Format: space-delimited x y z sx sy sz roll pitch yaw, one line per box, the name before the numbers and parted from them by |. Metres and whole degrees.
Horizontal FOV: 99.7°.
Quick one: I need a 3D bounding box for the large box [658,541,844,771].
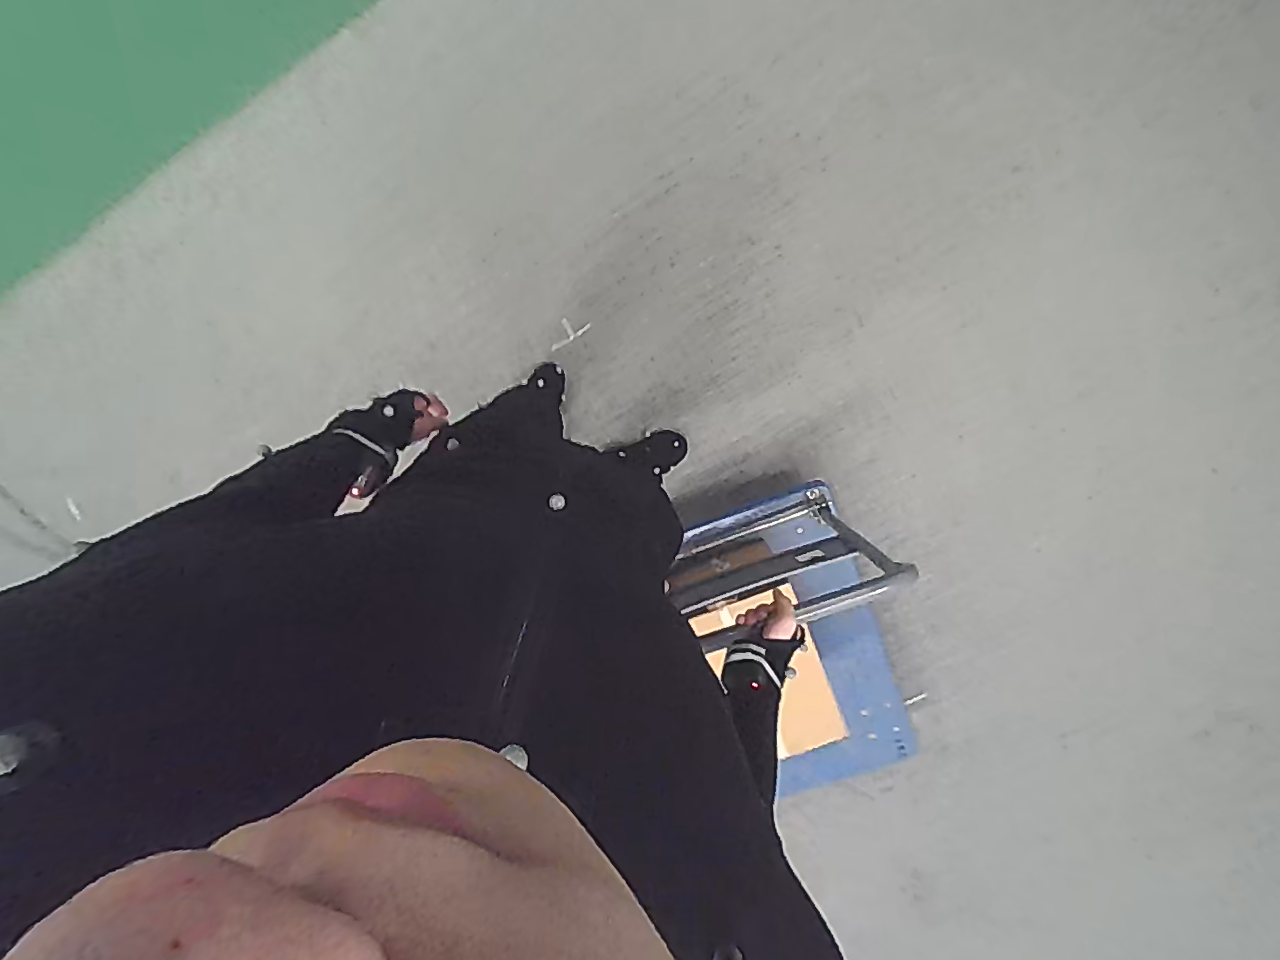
large box | 0.259 0.424 1.371 0.320 0.320 0.408 -21 100 7
